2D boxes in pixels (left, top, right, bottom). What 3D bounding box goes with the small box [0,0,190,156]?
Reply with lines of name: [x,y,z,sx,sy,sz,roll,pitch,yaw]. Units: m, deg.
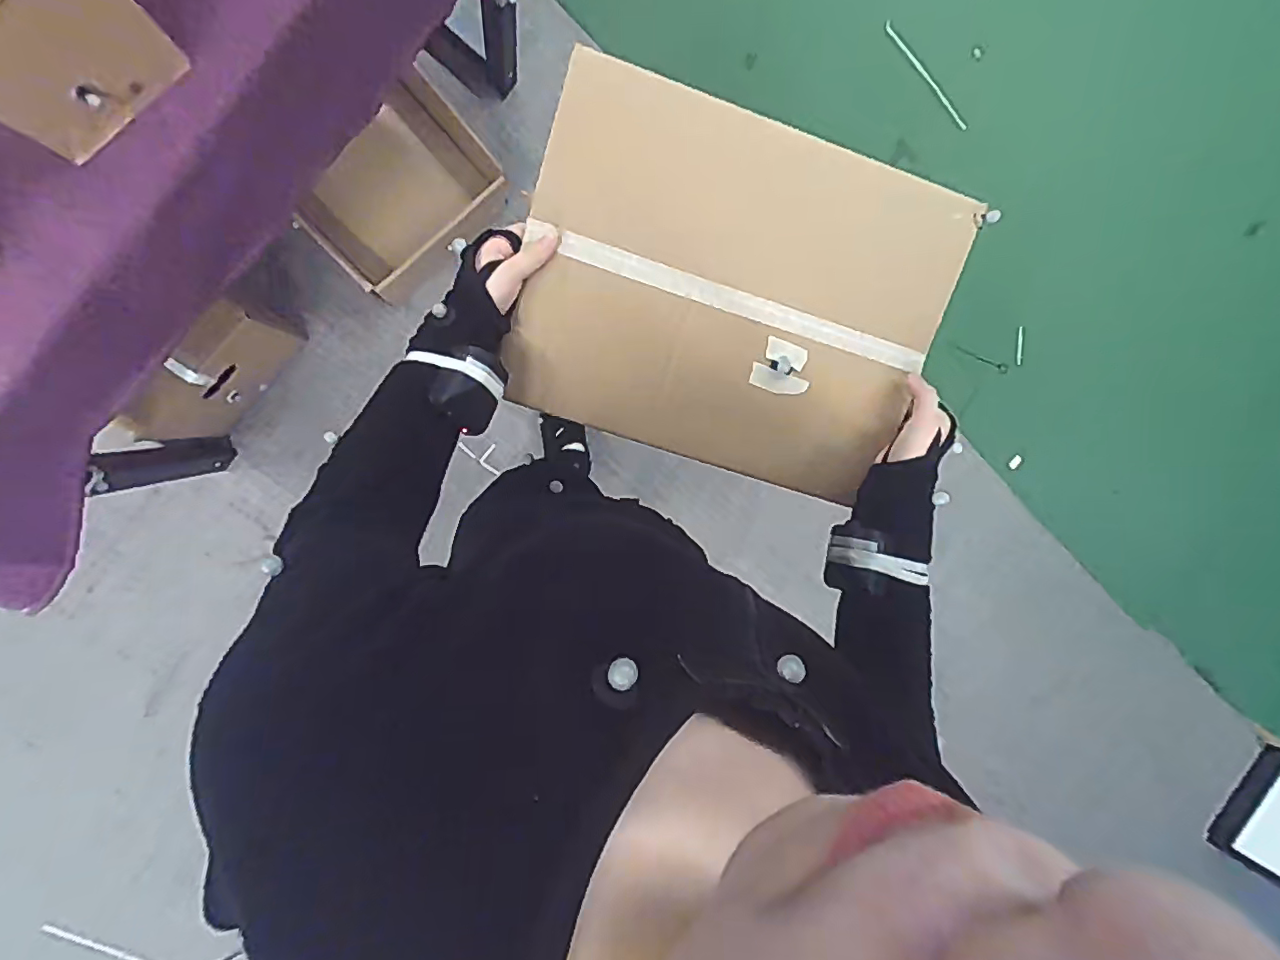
small box: [-0.582,-0.445,0.487,0.168,0.176,0.179,-46,105,-3]

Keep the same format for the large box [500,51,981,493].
large box: [0.084,-0.211,0.662,0.408,0.320,0.320,17,102,-7]
